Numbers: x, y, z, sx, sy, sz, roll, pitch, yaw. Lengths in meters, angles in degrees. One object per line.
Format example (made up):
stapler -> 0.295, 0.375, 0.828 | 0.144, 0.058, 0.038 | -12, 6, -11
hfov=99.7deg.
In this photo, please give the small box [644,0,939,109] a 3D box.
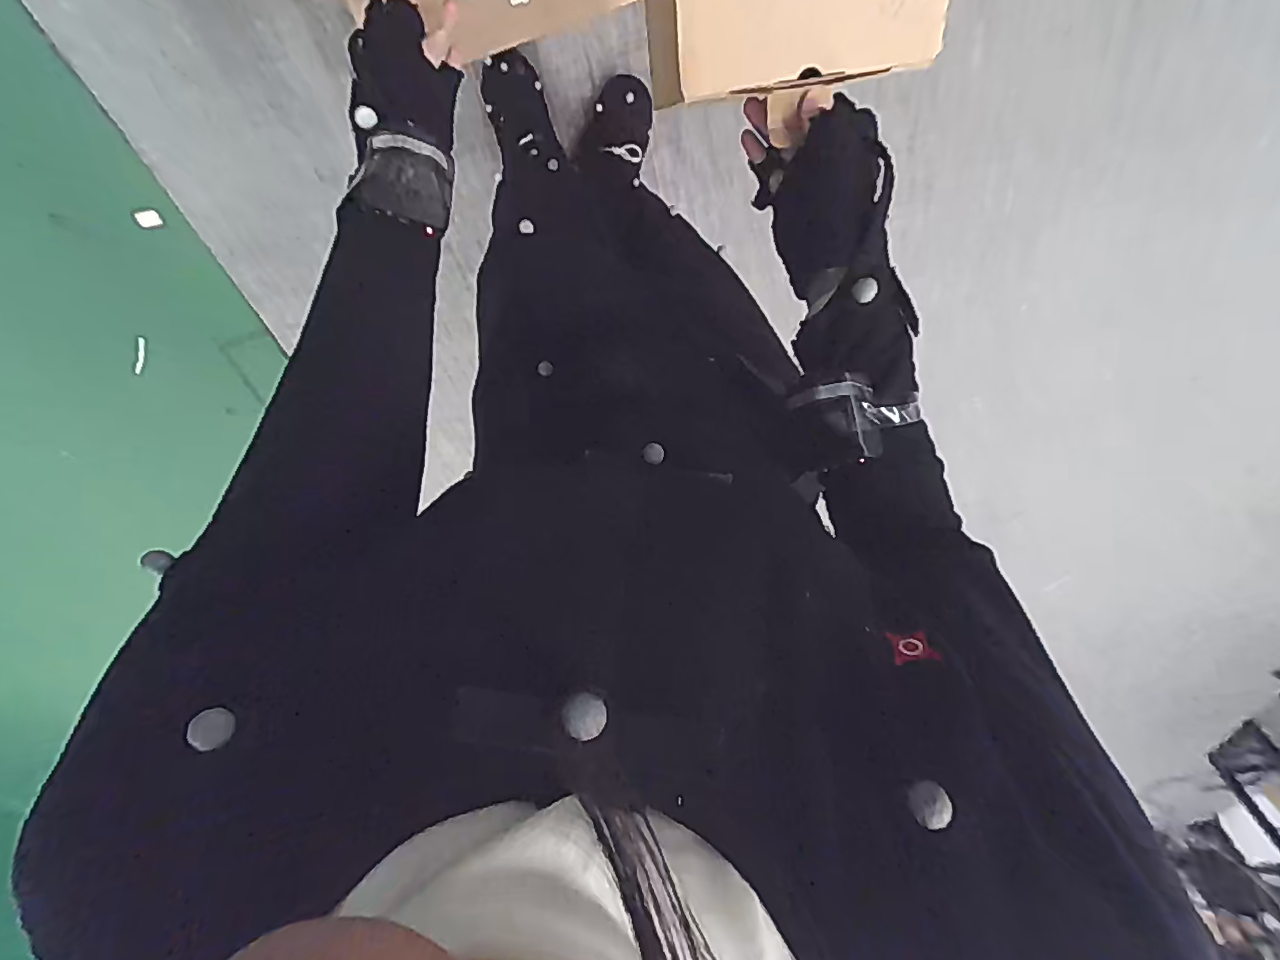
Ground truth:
small box -> 0.091, -0.369, 0.371 | 0.168, 0.176, 0.179 | -9, 123, 0
